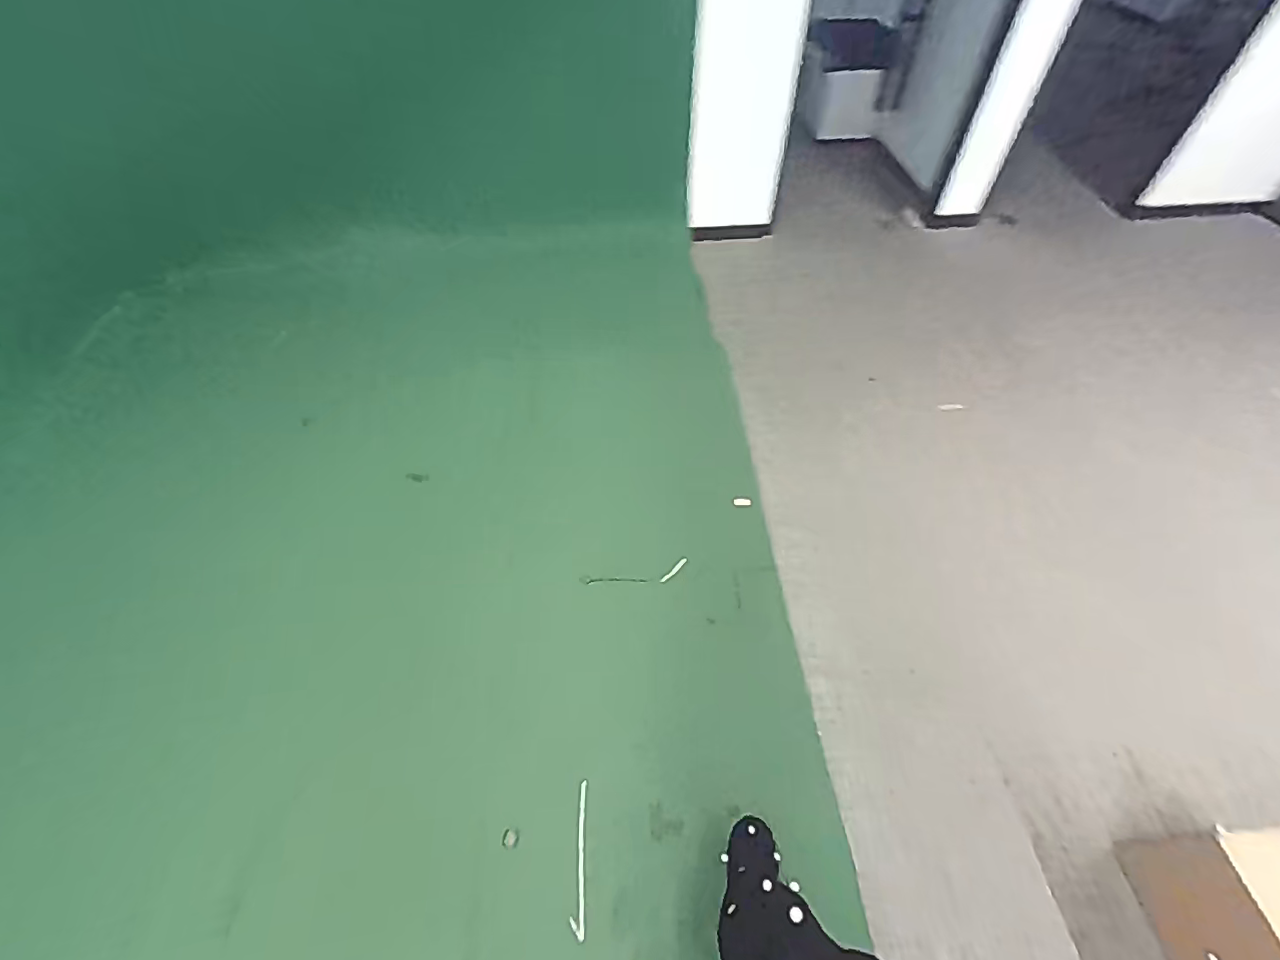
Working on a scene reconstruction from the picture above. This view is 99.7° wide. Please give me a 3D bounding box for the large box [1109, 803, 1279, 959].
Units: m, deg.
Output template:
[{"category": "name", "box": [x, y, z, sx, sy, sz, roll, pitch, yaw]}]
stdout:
[{"category": "large box", "box": [1.320, 0.922, 1.105, 0.320, 0.320, 0.408, -5, 50, -3]}]
